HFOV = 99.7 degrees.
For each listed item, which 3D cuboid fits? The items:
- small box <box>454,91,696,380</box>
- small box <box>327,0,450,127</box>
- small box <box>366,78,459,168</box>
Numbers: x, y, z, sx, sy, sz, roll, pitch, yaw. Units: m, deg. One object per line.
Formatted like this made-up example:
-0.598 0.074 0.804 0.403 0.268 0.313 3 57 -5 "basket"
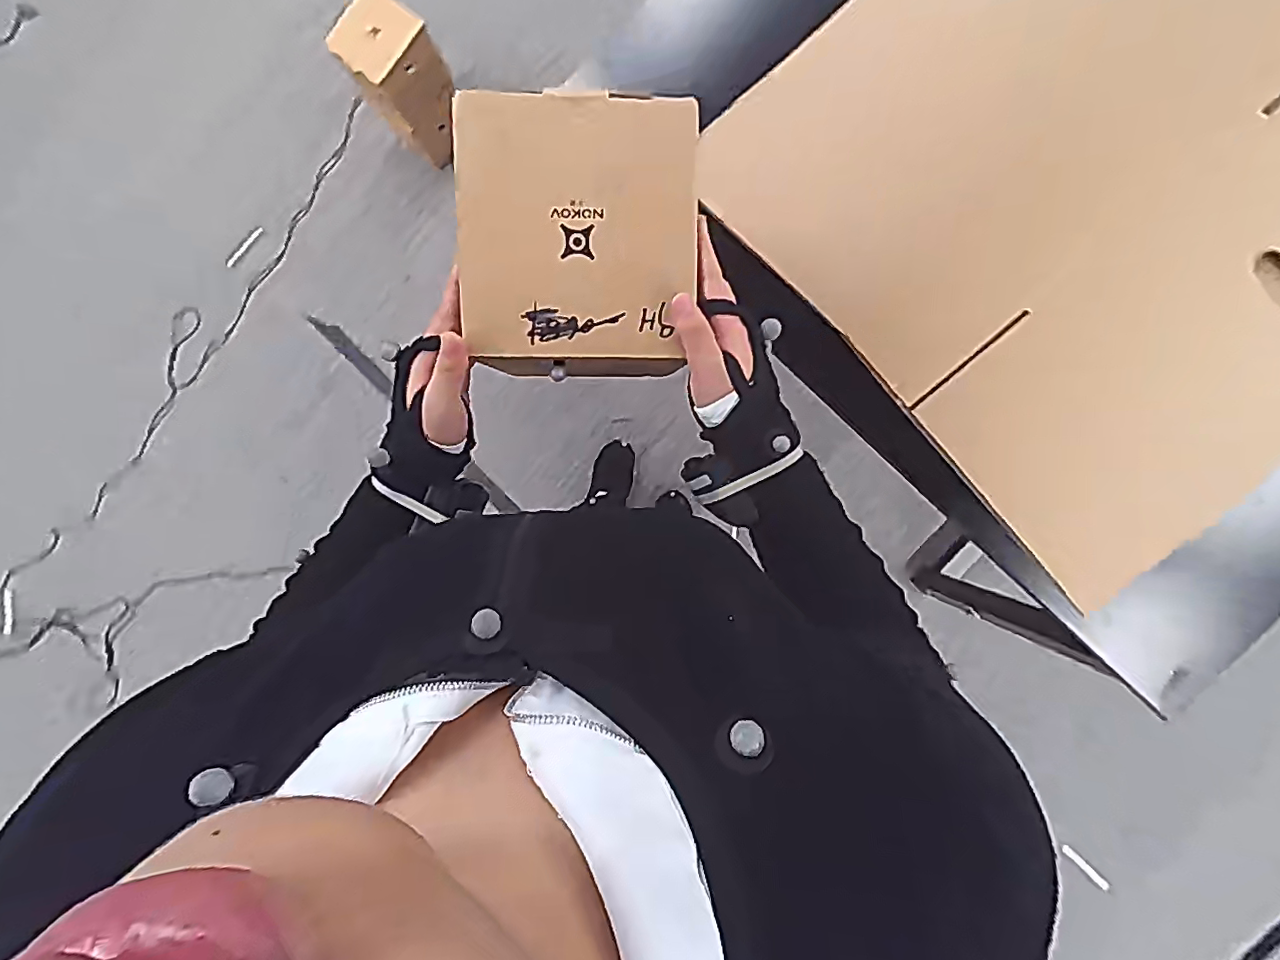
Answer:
-0.048 -0.180 0.450 0.168 0.176 0.179 -1 96 -3 "small box"
-0.590 -1.002 1.293 0.168 0.176 0.179 38 91 2 "small box"
-0.582 -0.997 1.455 0.168 0.176 0.179 40 93 3 "small box"
